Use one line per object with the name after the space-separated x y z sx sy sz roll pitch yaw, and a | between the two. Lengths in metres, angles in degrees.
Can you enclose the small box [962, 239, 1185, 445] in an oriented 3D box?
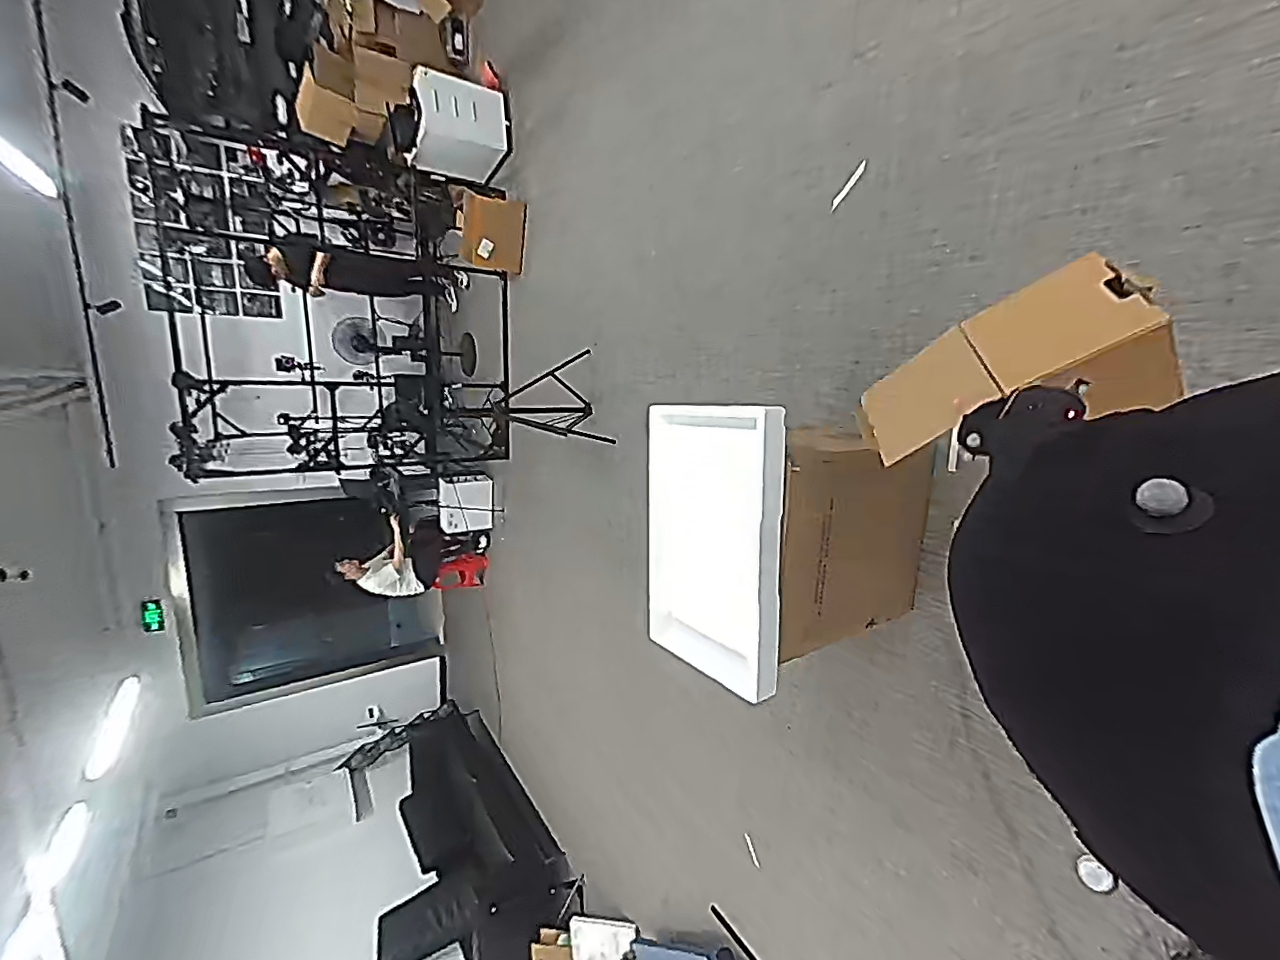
0.584 -0.176 0.738 0.179 0.176 0.168 -28 41 31 | small box
